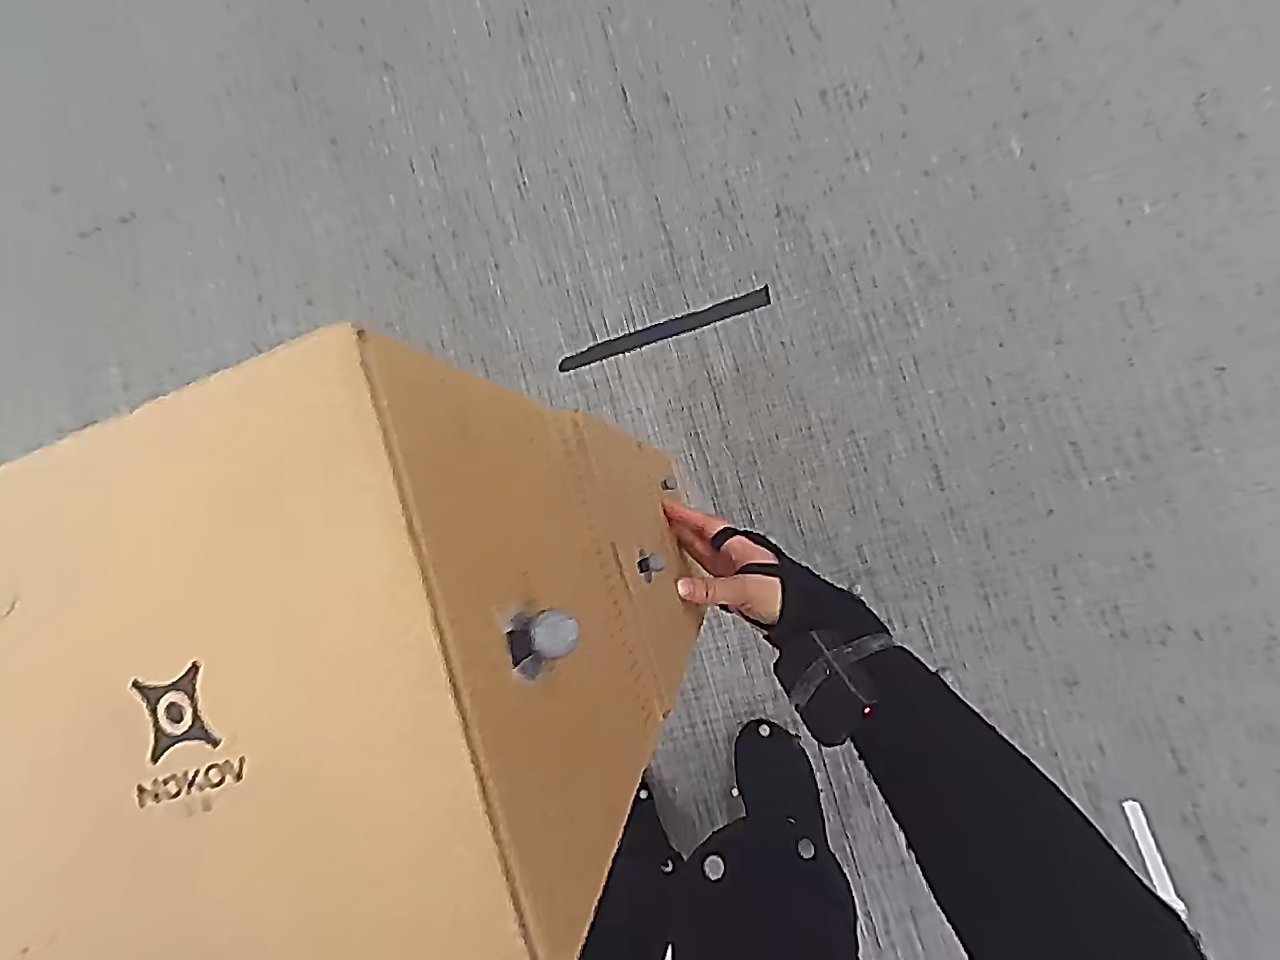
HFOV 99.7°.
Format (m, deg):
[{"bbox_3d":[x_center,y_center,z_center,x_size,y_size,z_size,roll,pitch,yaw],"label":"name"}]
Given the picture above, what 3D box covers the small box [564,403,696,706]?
[{"bbox_3d":[-0.064,0.062,0.389,0.168,0.176,0.179,-18,85,9],"label":"small box"}]
